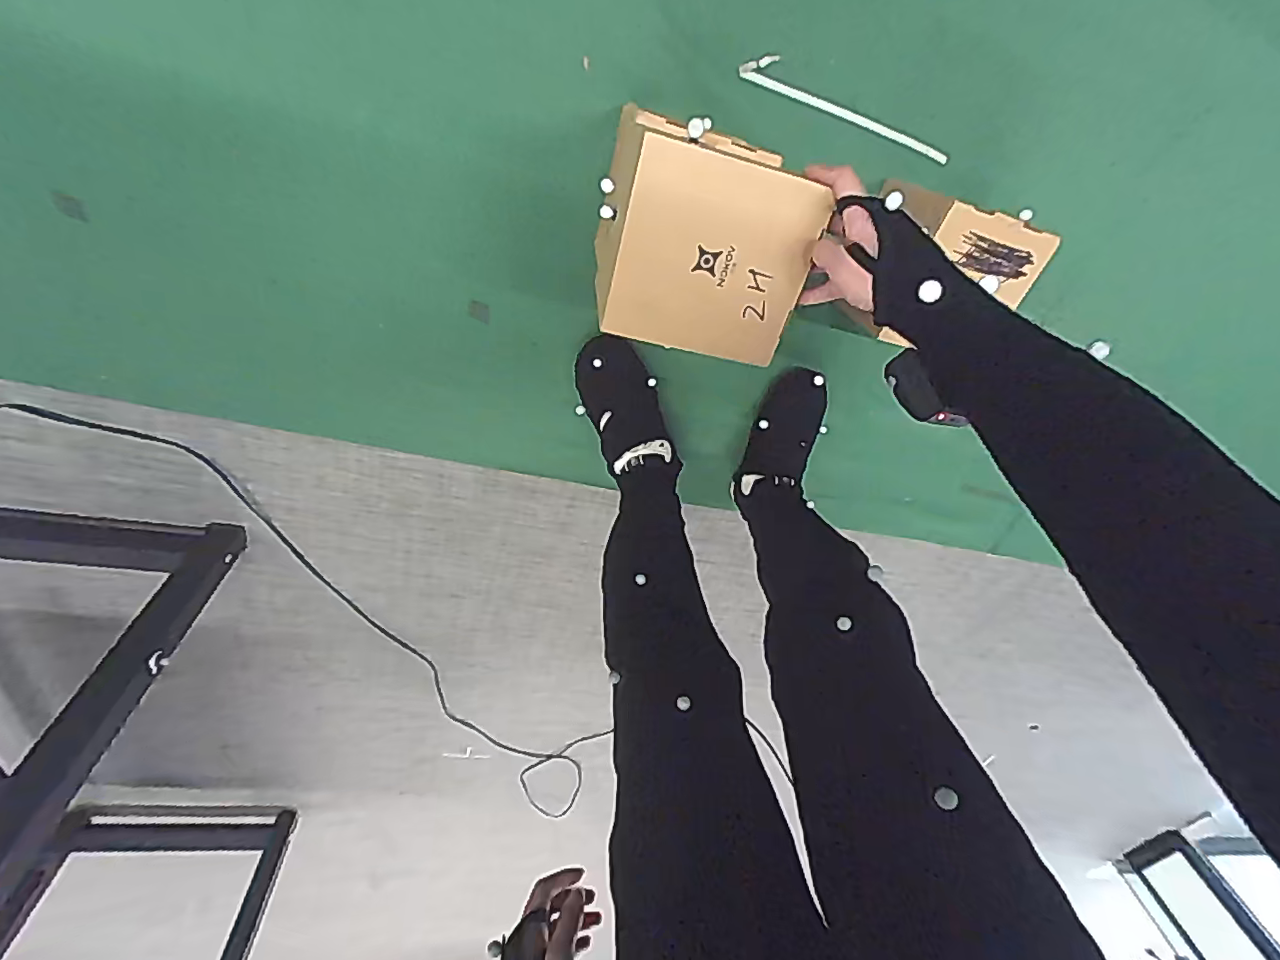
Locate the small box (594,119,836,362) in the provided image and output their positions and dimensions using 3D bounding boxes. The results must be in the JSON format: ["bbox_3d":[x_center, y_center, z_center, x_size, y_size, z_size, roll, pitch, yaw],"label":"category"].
[{"bbox_3d":[0.054,-0.242,0.541,0.179,0.176,0.168,9,124,-14],"label":"small box"}]

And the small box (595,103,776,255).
[{"bbox_3d":[0.041,-0.342,0.671,0.168,0.176,0.179,9,124,-13],"label":"small box"}]
